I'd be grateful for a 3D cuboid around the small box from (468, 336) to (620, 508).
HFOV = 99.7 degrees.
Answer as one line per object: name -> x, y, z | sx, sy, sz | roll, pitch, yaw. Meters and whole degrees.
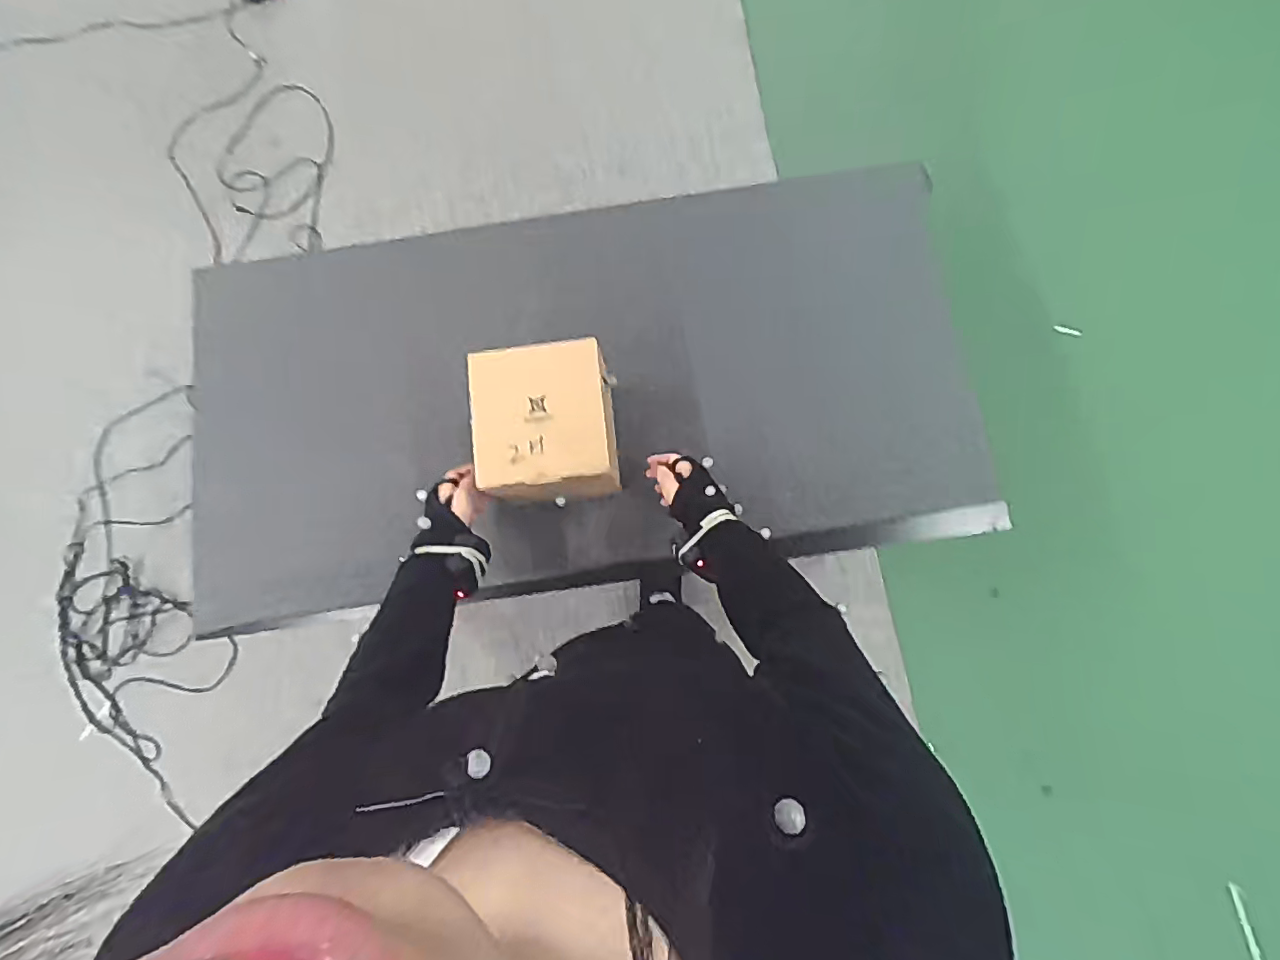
small box -> -0.121, -0.068, 0.725 | 0.168, 0.176, 0.179 | -7, 78, 2
